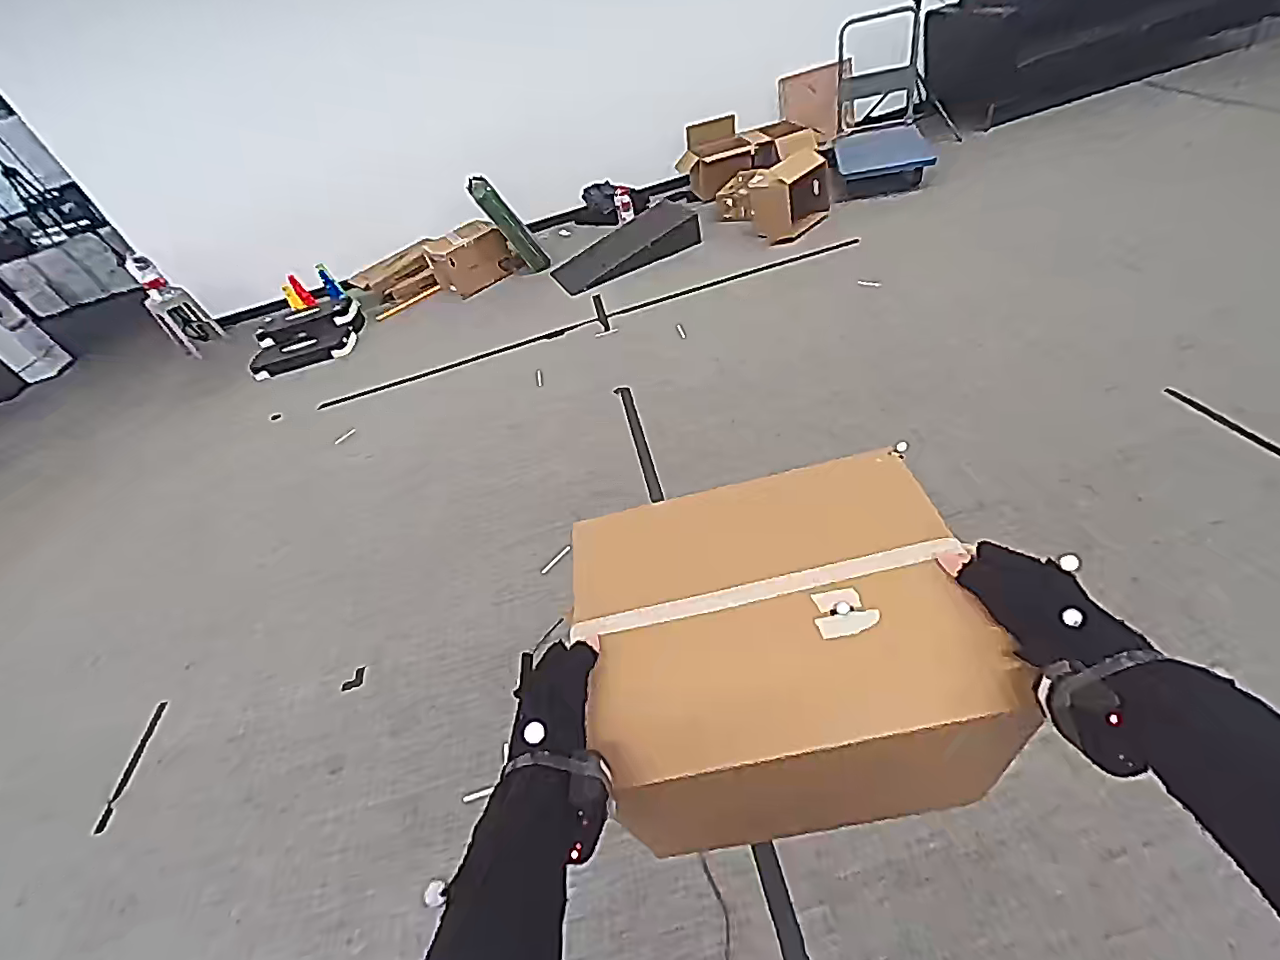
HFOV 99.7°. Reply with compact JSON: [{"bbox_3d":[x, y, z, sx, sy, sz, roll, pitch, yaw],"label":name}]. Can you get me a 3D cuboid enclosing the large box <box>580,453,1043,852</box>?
[{"bbox_3d":[0.164,0.220,0.675,0.408,0.320,0.320,-14,45,4],"label":"large box"}]
